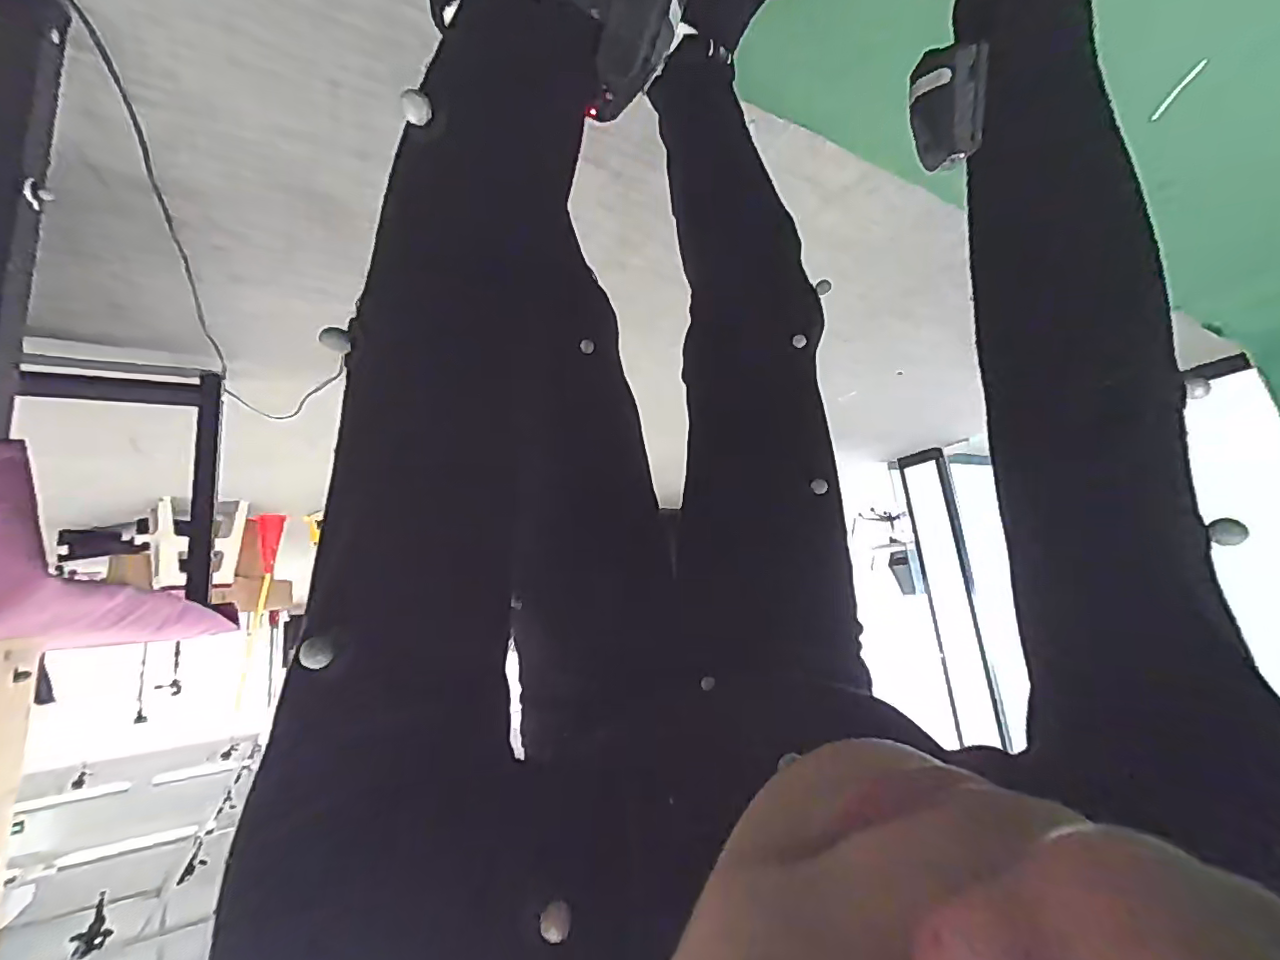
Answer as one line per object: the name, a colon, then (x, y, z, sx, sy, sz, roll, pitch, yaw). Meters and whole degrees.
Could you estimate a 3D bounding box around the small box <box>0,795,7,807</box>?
small box: (-0.717, 0.397, 0.467, 0.179, 0.176, 0.168, 3, 166, -32)
